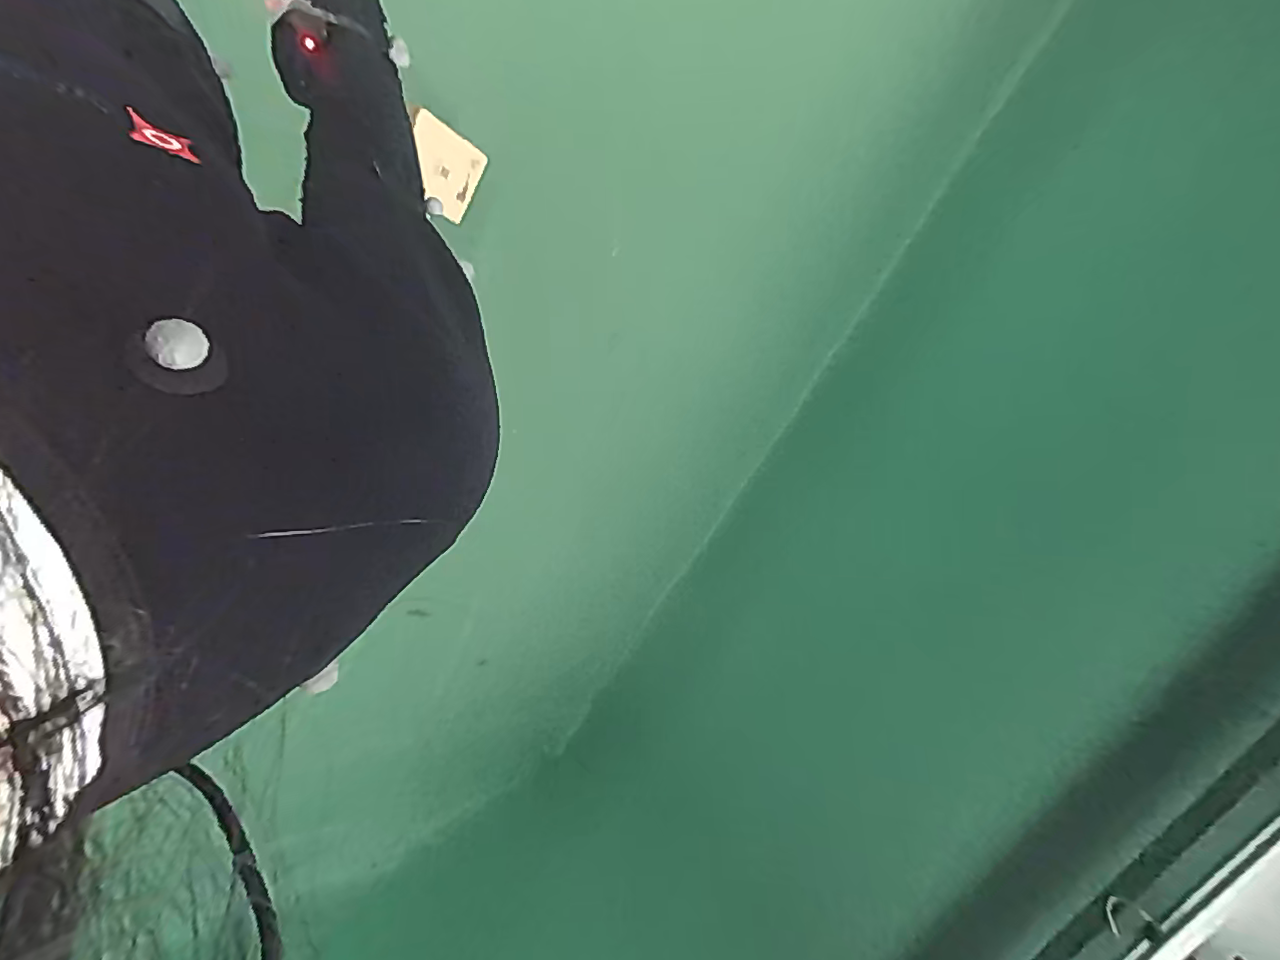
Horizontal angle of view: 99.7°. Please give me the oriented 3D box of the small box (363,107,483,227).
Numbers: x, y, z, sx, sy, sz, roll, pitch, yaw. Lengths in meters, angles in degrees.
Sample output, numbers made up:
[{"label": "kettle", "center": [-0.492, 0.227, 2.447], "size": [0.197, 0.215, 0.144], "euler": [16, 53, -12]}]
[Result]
[{"label": "small box", "center": [-0.503, -0.720, 1.242], "size": [0.179, 0.176, 0.168], "euler": [14, 111, -53]}]
